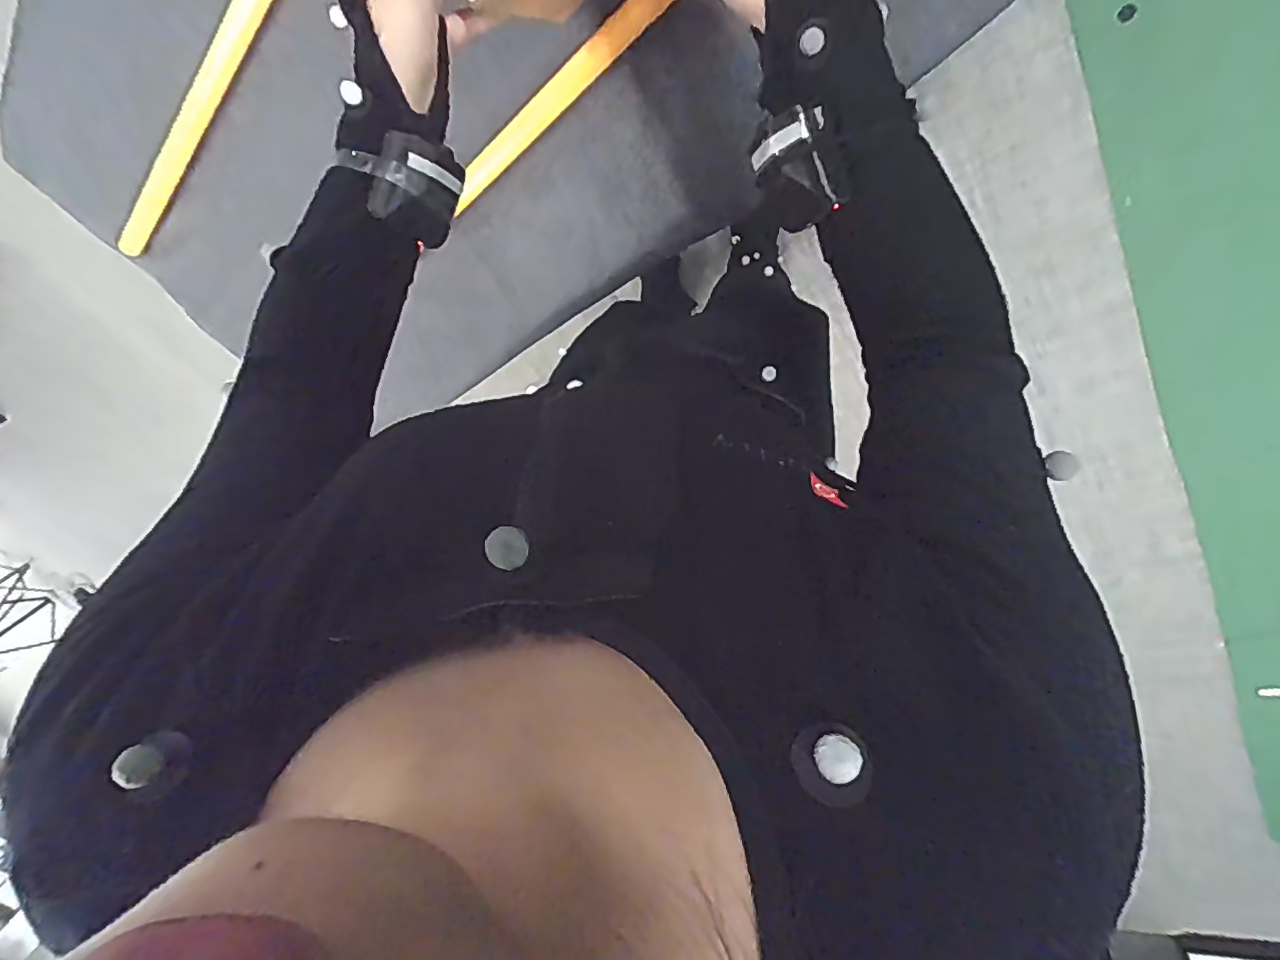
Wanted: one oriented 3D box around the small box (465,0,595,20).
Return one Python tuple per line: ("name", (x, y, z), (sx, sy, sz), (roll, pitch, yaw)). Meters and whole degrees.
("small box", (-0.062, -0.450, 0.357), (0.179, 0.176, 0.168), (-20, 118, 30))
